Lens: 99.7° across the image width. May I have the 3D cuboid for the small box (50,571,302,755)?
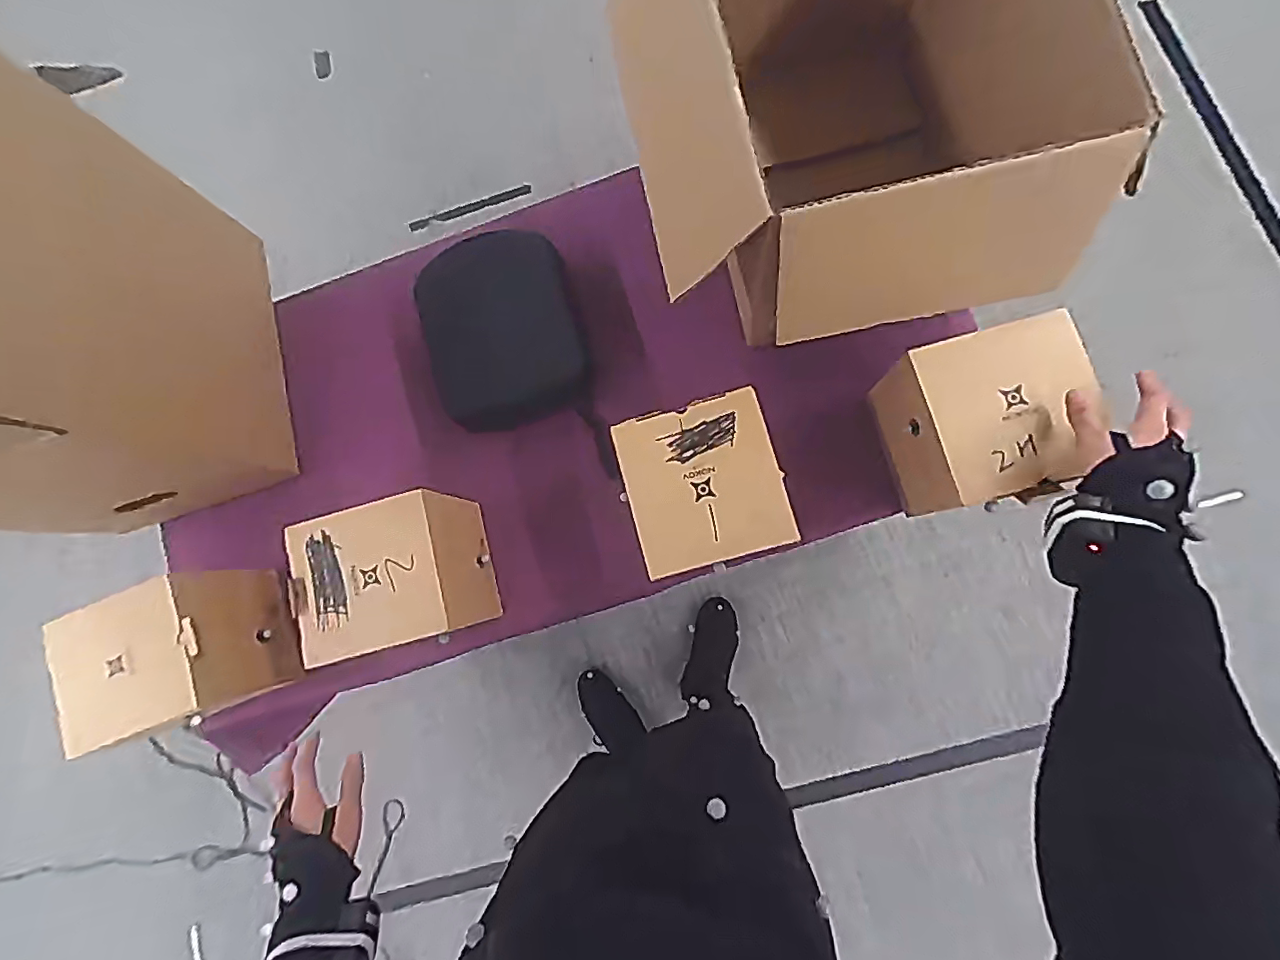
[{"bbox_3d":[-0.597,0.227,0.713,0.179,0.176,0.168,-22,80,2],"label":"small box"}]
